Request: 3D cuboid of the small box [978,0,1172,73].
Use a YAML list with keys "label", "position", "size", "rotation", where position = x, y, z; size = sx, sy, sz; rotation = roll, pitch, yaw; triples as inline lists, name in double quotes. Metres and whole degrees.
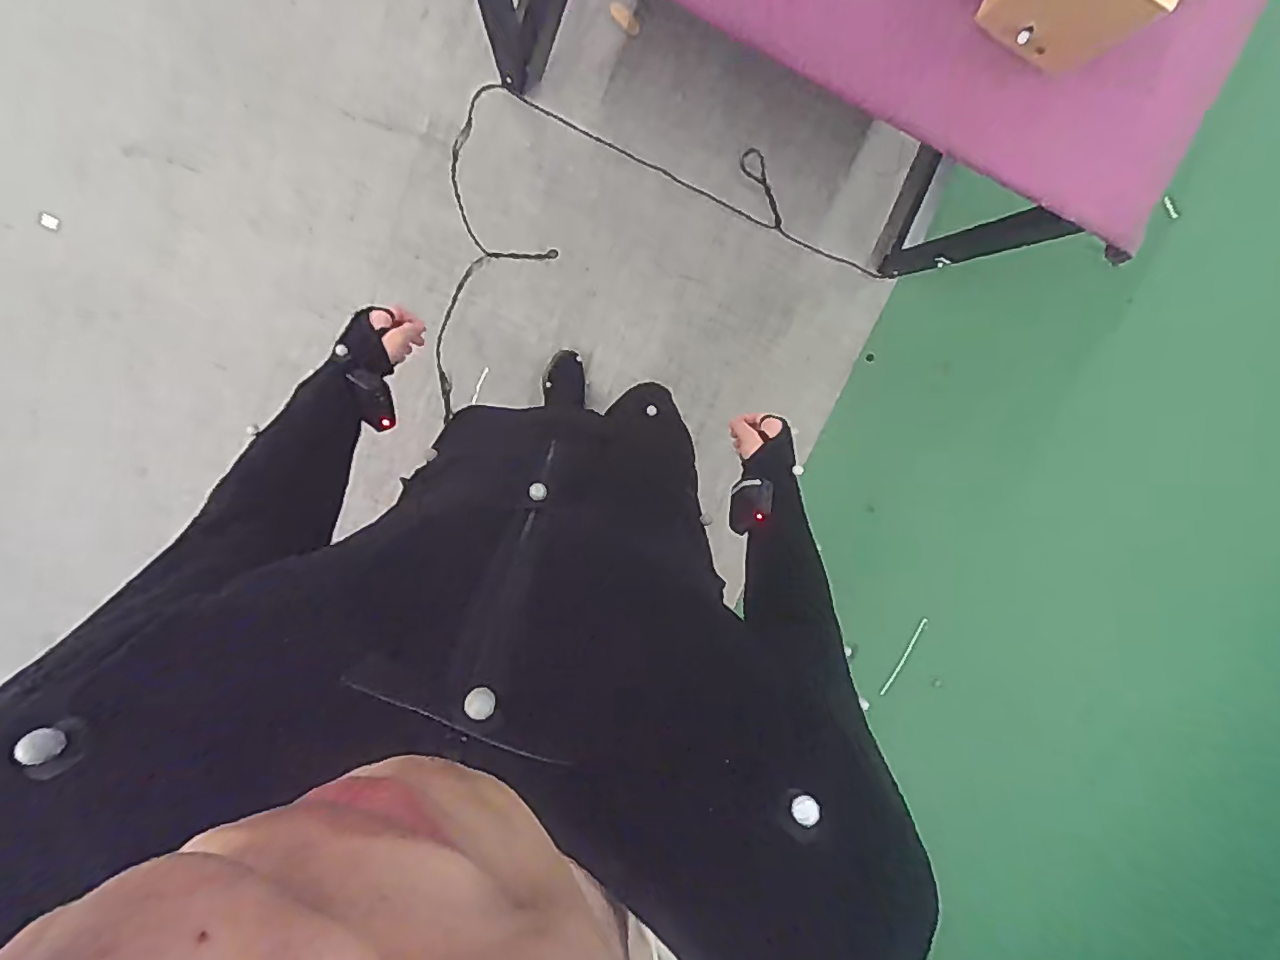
- label: "small box"
  position: [0.594, -0.697, 0.707]
  size: [0.168, 0.176, 0.179]
  rotation: [23, 99, -10]
